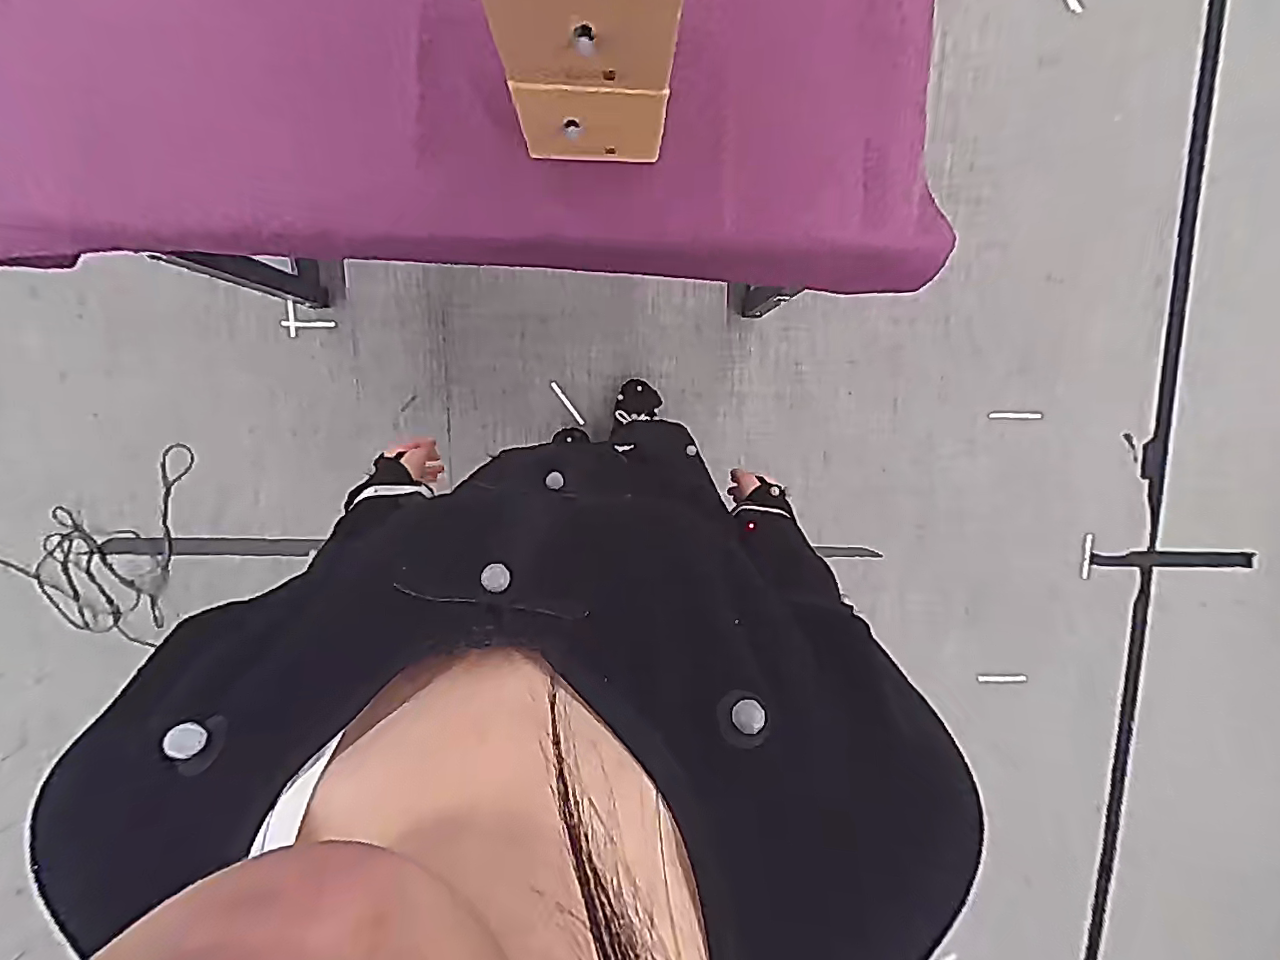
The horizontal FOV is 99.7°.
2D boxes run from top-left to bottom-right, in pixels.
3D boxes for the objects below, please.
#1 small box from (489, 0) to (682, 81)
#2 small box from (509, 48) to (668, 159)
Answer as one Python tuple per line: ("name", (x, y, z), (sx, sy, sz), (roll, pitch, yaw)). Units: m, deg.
("small box", (-0.043, -0.478, 0.457), (0.168, 0.176, 0.179), (2, 98, -3))
("small box", (-0.052, -0.495, 0.620), (0.168, 0.176, 0.179), (1, 97, -3))
